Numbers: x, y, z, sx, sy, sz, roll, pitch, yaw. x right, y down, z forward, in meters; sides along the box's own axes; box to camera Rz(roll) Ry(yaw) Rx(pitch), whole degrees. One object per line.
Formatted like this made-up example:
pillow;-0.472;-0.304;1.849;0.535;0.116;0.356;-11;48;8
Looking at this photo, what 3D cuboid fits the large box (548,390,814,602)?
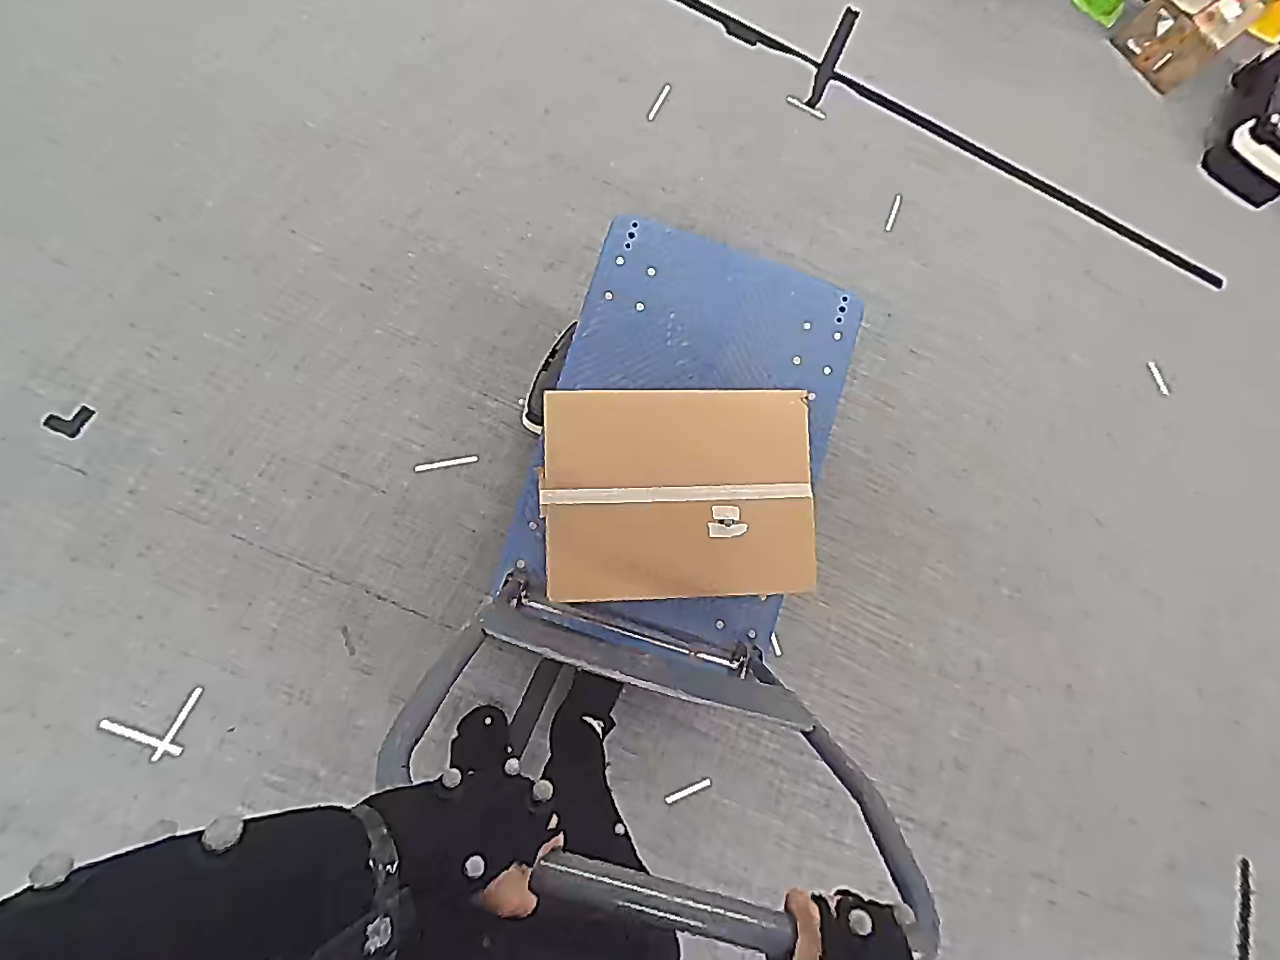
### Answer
large box;0.049;0.029;0.966;0.408;0.320;0.320;-1;87;-7
